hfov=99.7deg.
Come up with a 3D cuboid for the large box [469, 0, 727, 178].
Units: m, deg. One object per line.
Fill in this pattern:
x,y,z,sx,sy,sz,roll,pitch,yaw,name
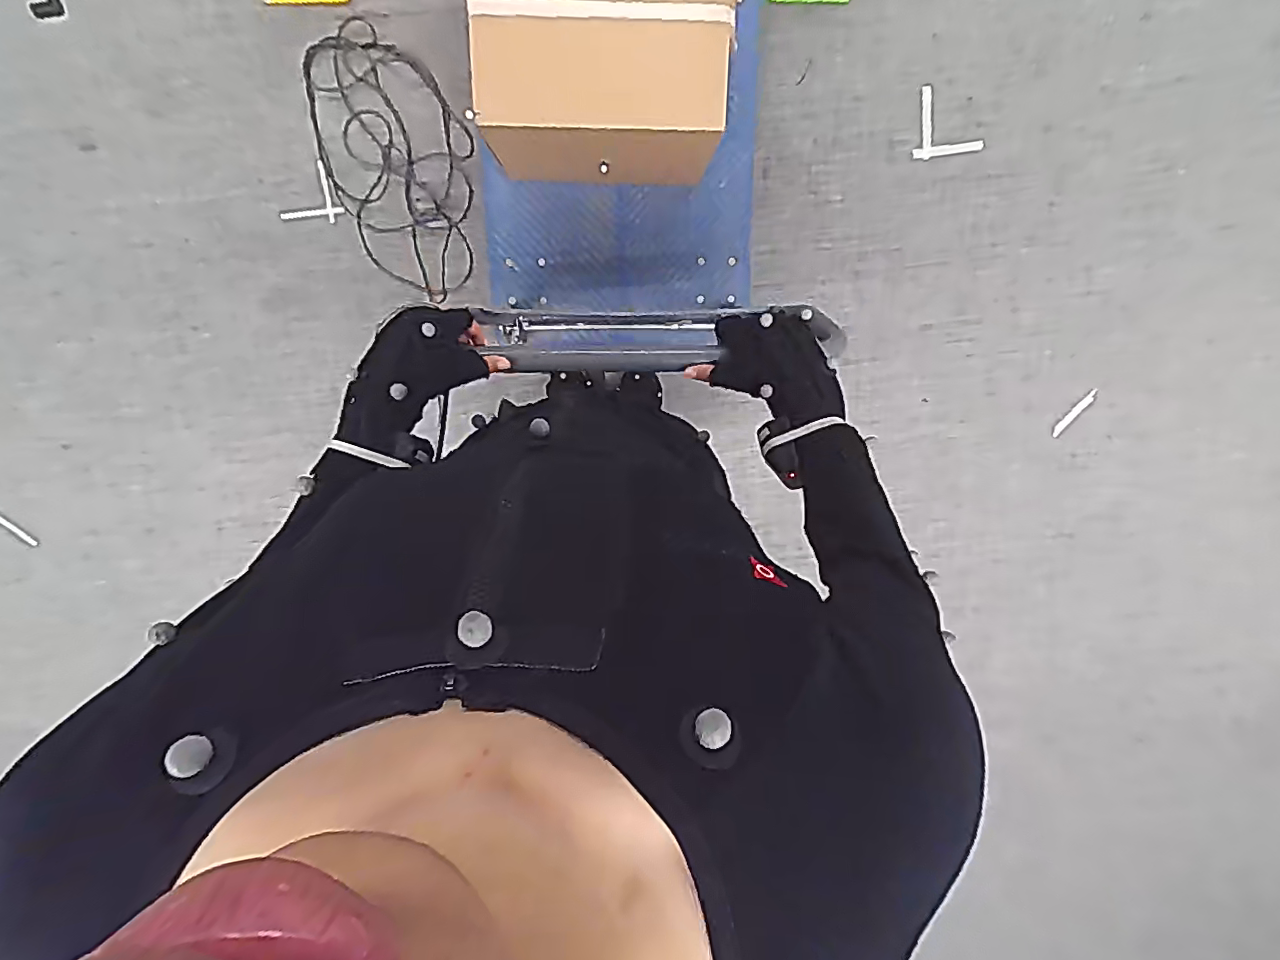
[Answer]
-0.065,-0.754,0.975,0.408,0.320,0.320,0,104,-2,large box
